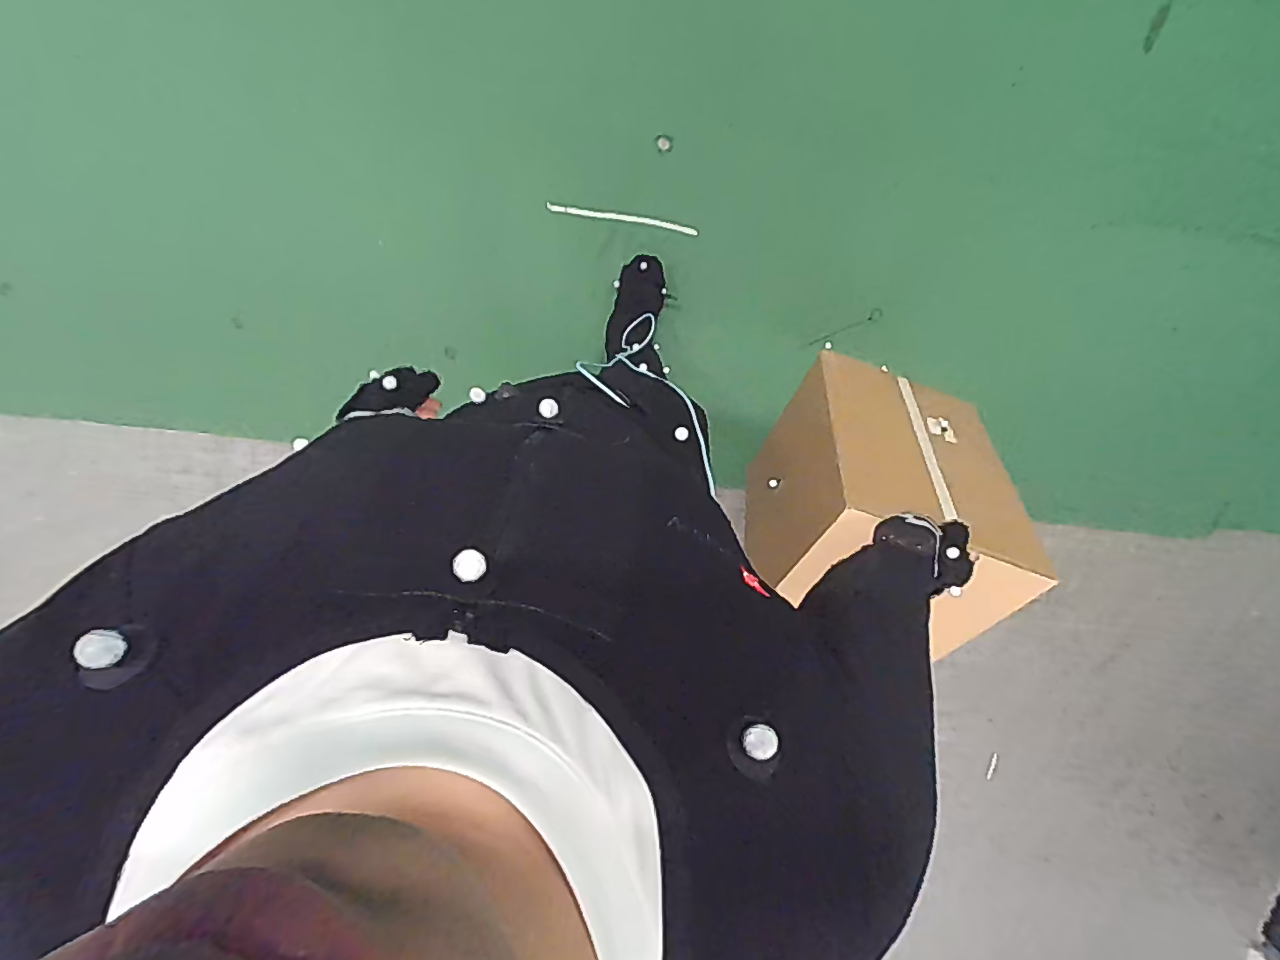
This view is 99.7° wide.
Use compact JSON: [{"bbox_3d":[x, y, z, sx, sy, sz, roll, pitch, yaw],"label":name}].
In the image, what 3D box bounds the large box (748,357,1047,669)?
[{"bbox_3d":[0.392,0.054,0.956,0.320,0.408,0.320,19,133,-6],"label":"large box"}]
